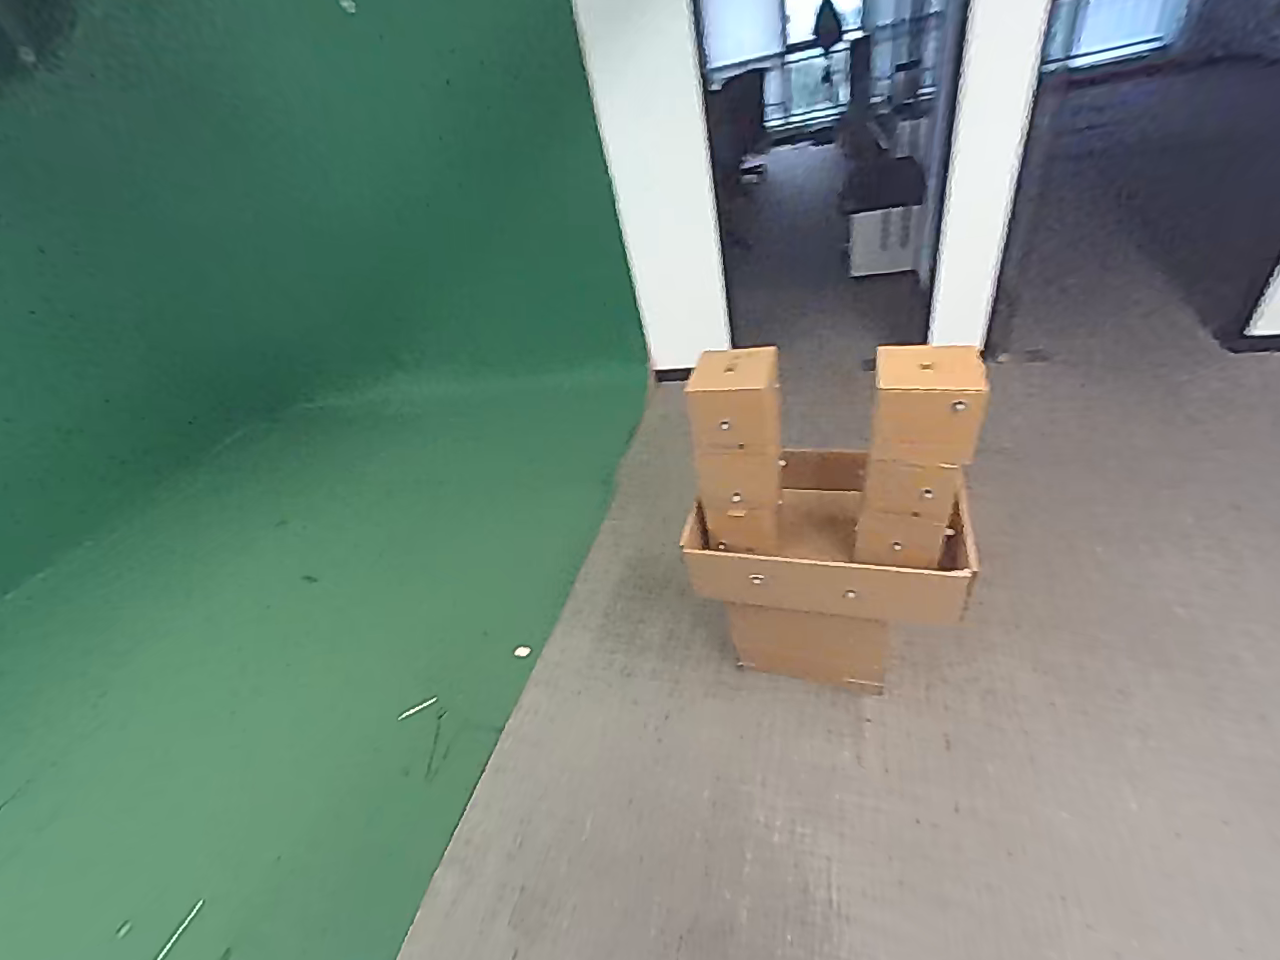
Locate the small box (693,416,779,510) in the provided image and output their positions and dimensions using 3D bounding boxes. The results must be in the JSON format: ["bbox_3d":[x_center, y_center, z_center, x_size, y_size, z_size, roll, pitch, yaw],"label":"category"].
[{"bbox_3d":[0.239,-0.042,1.303,0.179,0.176,0.168,1,40,20],"label":"small box"}]

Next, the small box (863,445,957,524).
[{"bbox_3d":[0.578,-0.027,1.164,0.168,0.176,0.179,7,42,25],"label":"small box"}]

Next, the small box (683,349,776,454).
[{"bbox_3d":[0.208,-0.170,1.203,0.168,0.176,0.179,2,41,21],"label":"small box"}]

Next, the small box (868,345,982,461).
[{"bbox_3d":[0.547,-0.150,1.062,0.179,0.176,0.168,4,42,20],"label":"small box"}]
